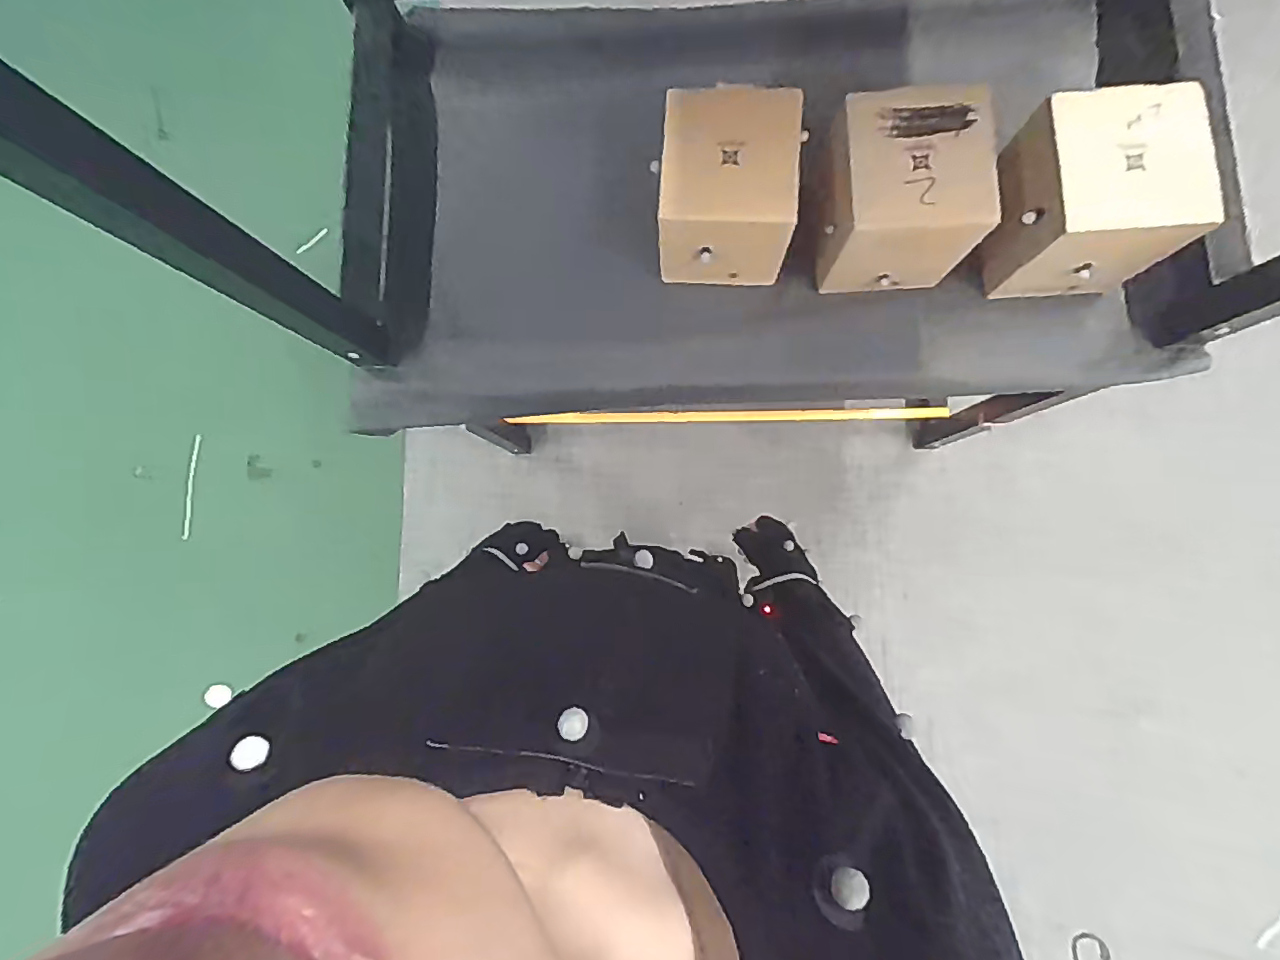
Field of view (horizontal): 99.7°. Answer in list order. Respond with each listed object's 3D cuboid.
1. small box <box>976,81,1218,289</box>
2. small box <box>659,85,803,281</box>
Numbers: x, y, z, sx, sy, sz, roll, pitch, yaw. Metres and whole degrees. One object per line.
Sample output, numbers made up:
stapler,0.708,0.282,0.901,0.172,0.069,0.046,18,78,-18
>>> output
small box,0.563,-0.359,0.692,0.168,0.176,0.179,-2,83,4
small box,0.117,-0.388,0.732,0.168,0.176,0.179,3,84,4
